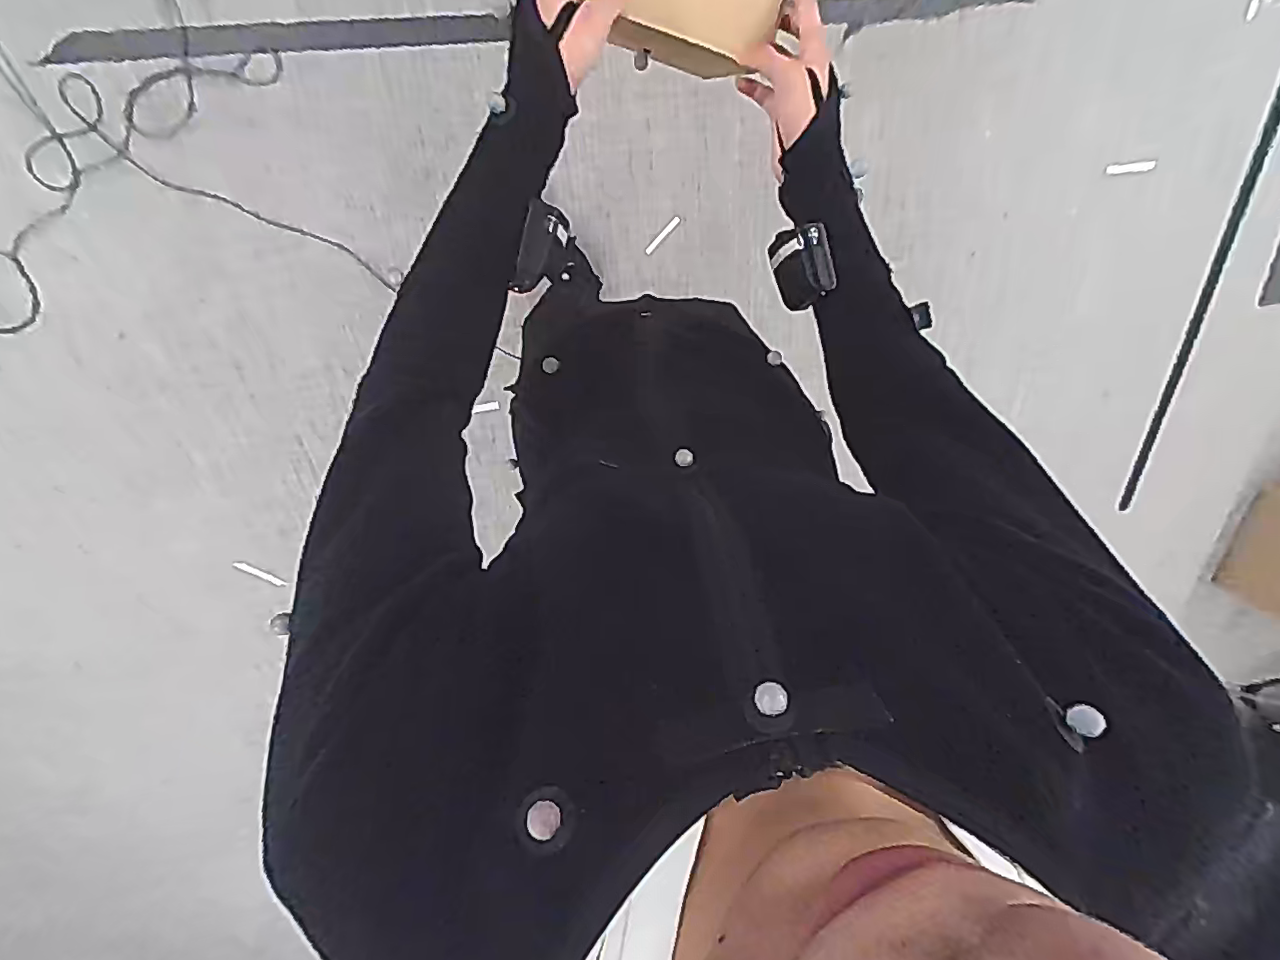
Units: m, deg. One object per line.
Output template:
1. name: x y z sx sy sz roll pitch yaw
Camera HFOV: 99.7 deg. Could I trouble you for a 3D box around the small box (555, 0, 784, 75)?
1. small box: 0.031 -0.492 0.489 0.179 0.176 0.168 5 122 -20
